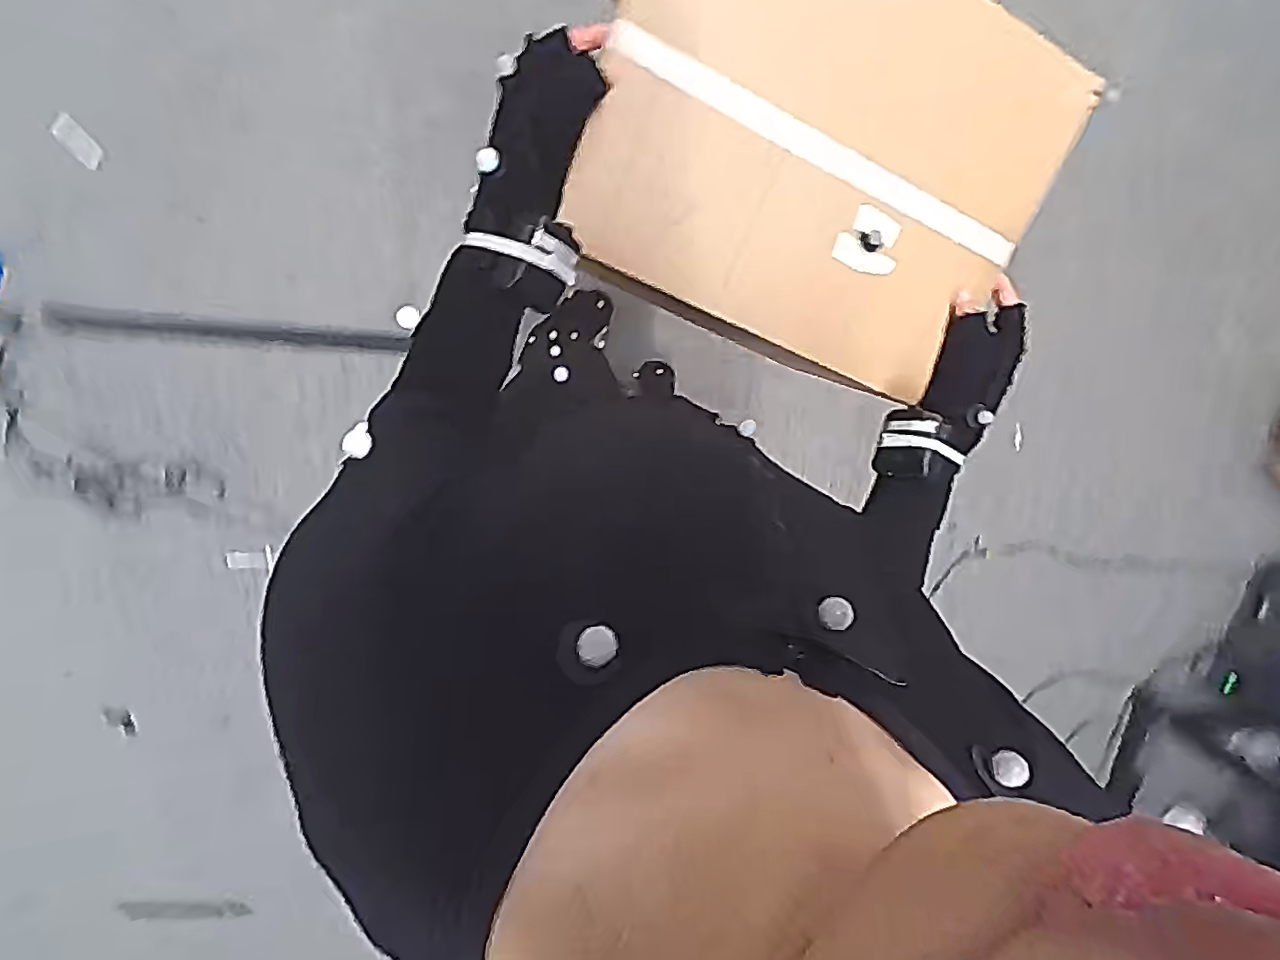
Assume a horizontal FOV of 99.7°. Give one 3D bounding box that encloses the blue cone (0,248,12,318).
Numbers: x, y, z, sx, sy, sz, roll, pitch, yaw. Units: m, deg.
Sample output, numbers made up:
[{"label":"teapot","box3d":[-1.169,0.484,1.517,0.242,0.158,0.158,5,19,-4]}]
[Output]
[{"label":"blue cone","box3d":[-1.563,-0.440,1.099,0.192,0.380,0.193,23,102,-10]}]
